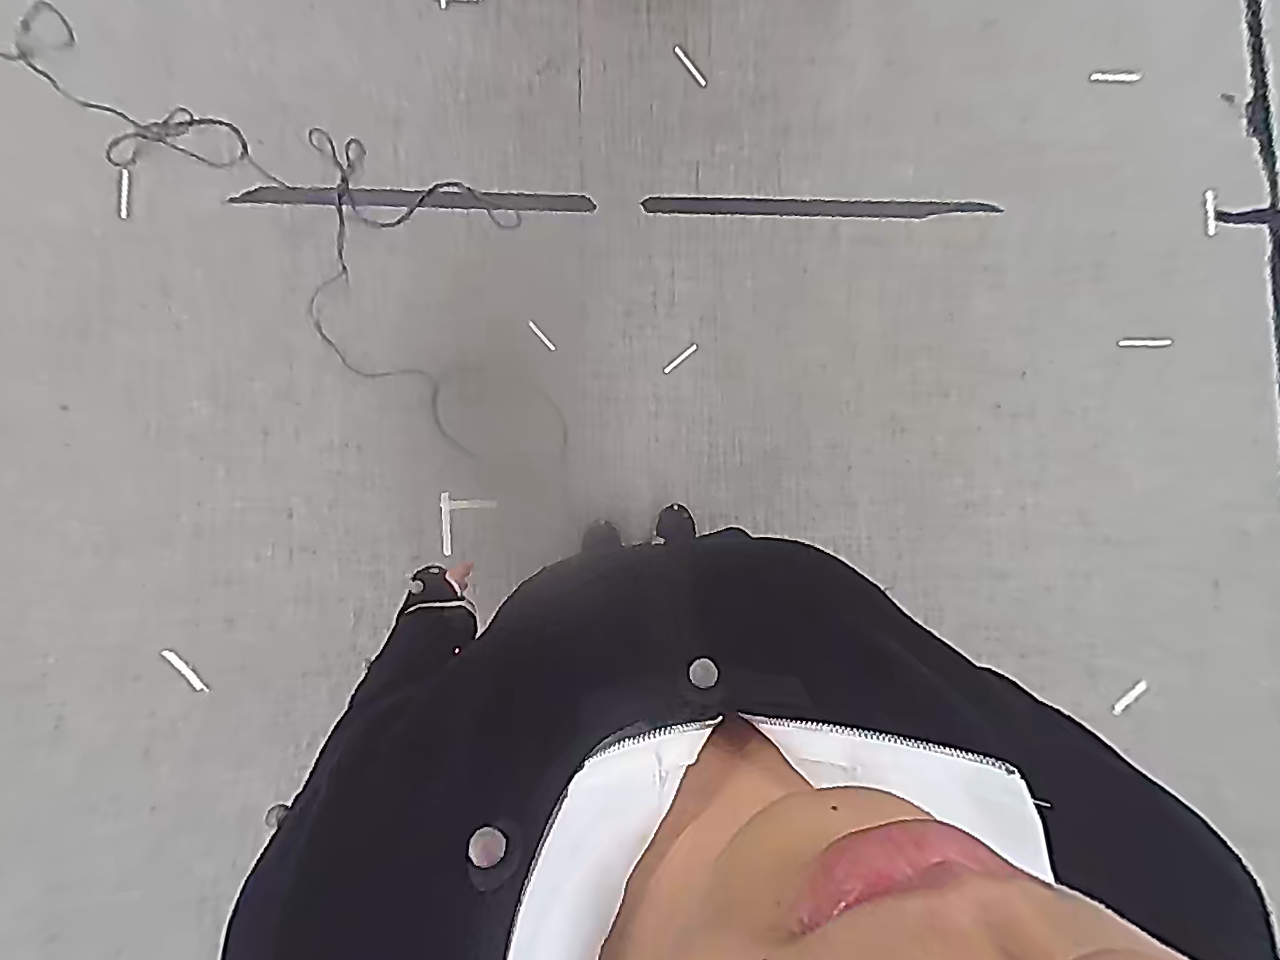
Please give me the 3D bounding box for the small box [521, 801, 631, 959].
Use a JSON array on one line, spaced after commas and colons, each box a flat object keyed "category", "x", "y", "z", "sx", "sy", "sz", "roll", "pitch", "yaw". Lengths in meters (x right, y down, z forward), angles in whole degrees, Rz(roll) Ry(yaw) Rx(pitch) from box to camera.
[{"category": "small box", "x": -0.101, "y": 0.674, "z": 0.909, "sx": 0.168, "sy": 0.176, "sz": 0.179, "roll": -3, "pitch": 84, "yaw": -2}]
